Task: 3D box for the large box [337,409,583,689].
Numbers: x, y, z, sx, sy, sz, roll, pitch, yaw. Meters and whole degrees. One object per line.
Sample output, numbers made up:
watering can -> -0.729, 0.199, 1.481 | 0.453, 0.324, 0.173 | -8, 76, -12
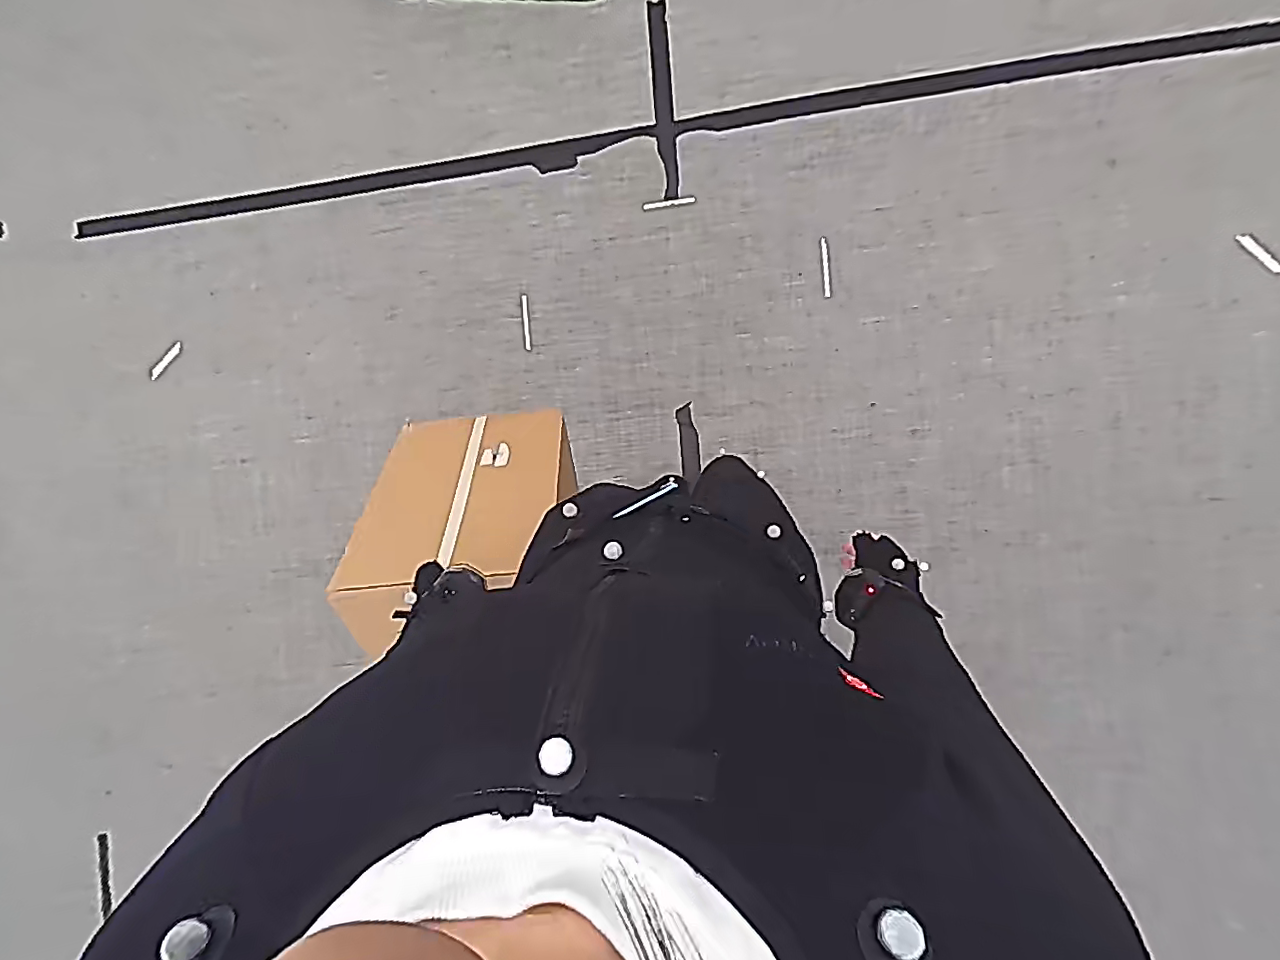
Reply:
large box -> -0.281, 0.118, 1.006 | 0.320, 0.408, 0.320 | -5, 131, 0
